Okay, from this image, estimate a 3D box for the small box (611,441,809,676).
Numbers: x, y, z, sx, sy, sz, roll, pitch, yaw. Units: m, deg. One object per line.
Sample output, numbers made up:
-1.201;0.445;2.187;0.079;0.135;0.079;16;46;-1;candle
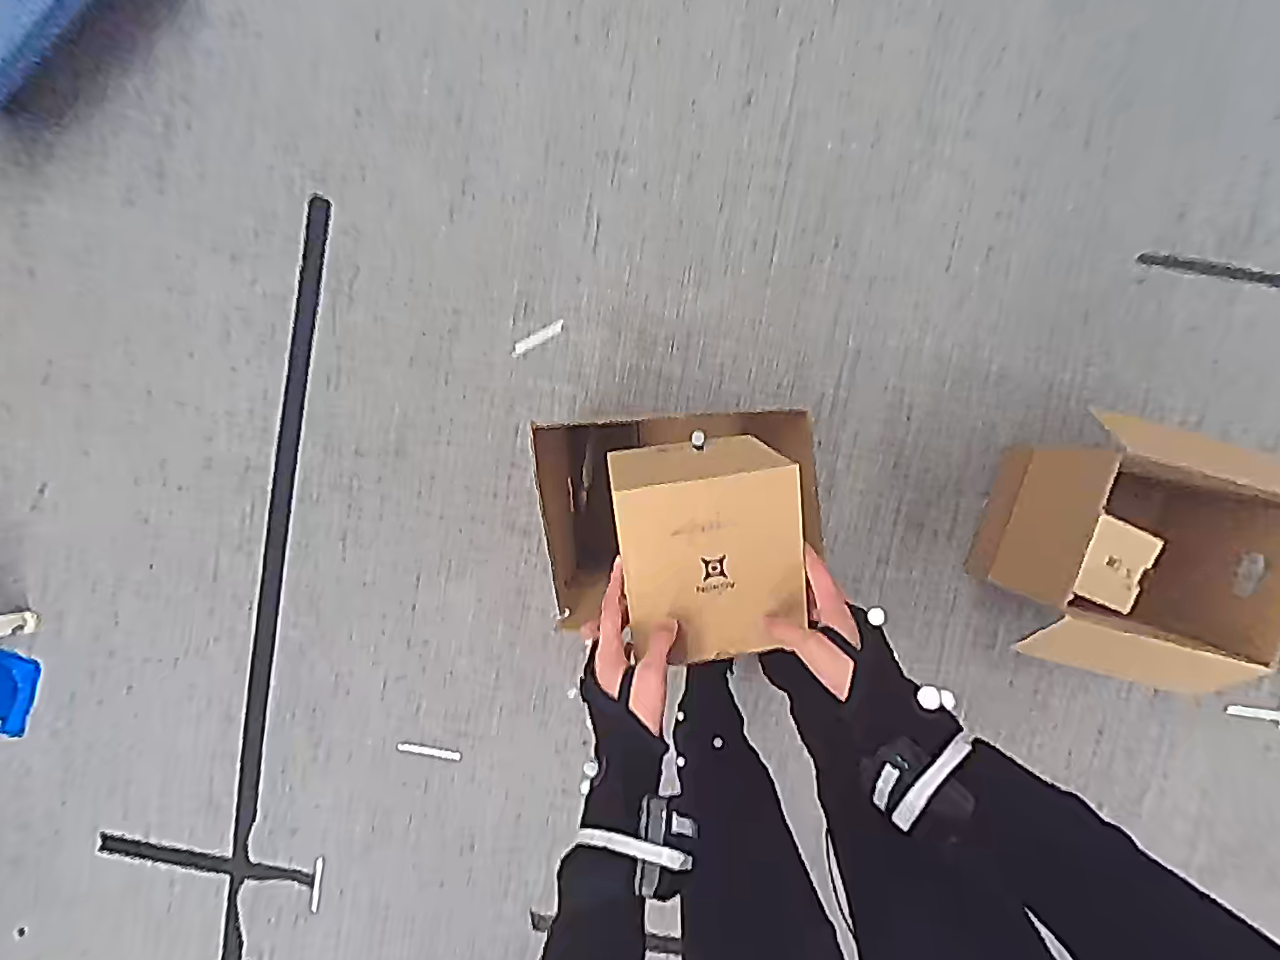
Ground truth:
0.063;0.068;0.554;0.168;0.176;0.179;-8;105;-3;small box
